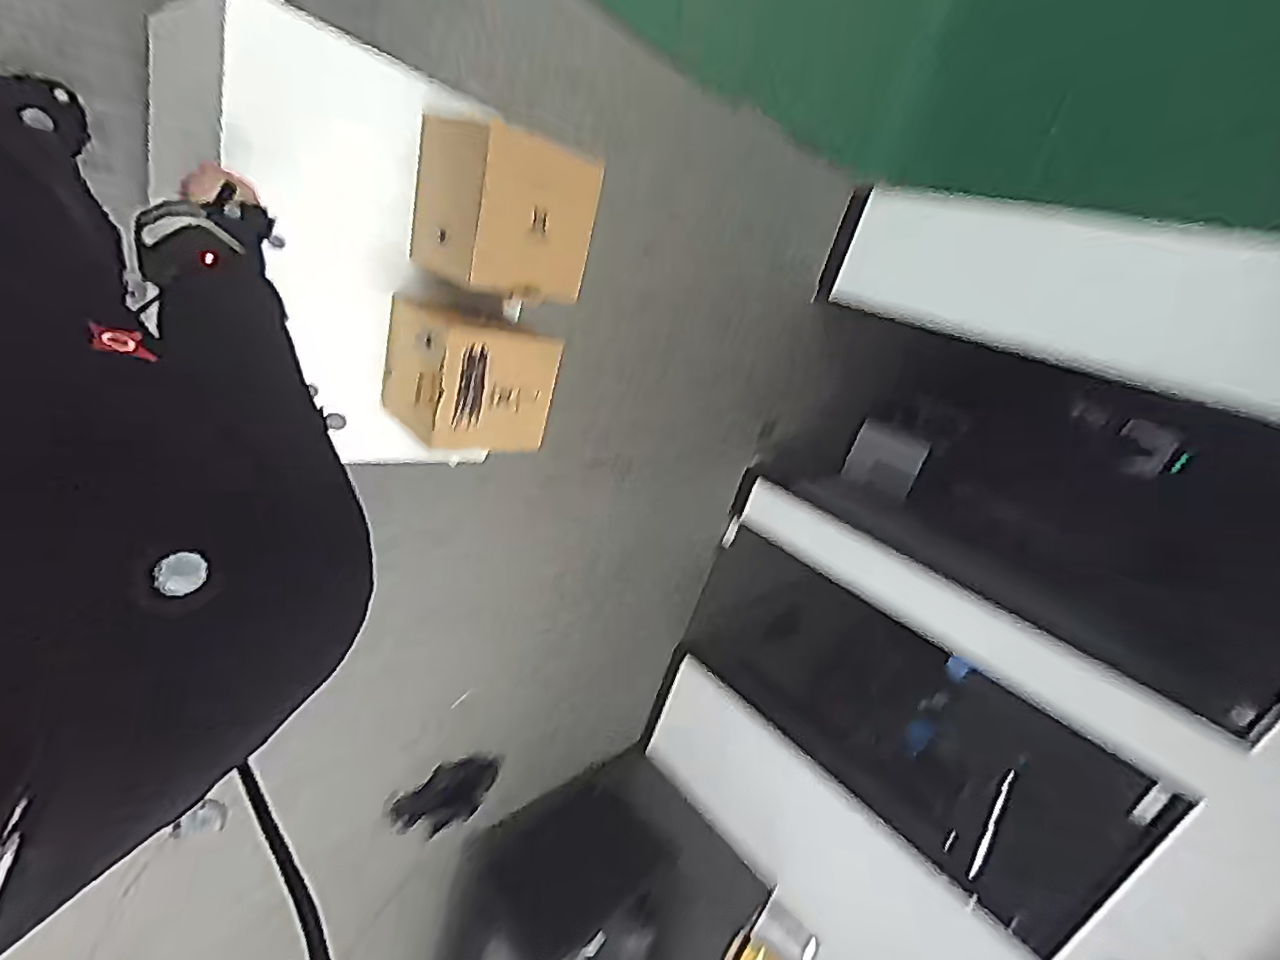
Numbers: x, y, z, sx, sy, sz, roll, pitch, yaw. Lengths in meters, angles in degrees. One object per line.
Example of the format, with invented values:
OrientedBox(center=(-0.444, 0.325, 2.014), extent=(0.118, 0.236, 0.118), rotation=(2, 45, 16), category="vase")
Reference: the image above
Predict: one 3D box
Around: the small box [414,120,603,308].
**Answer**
OrientedBox(center=(-0.178, -0.342, 0.706), extent=(0.168, 0.176, 0.179), rotation=(-10, 123, -46), category="small box")
